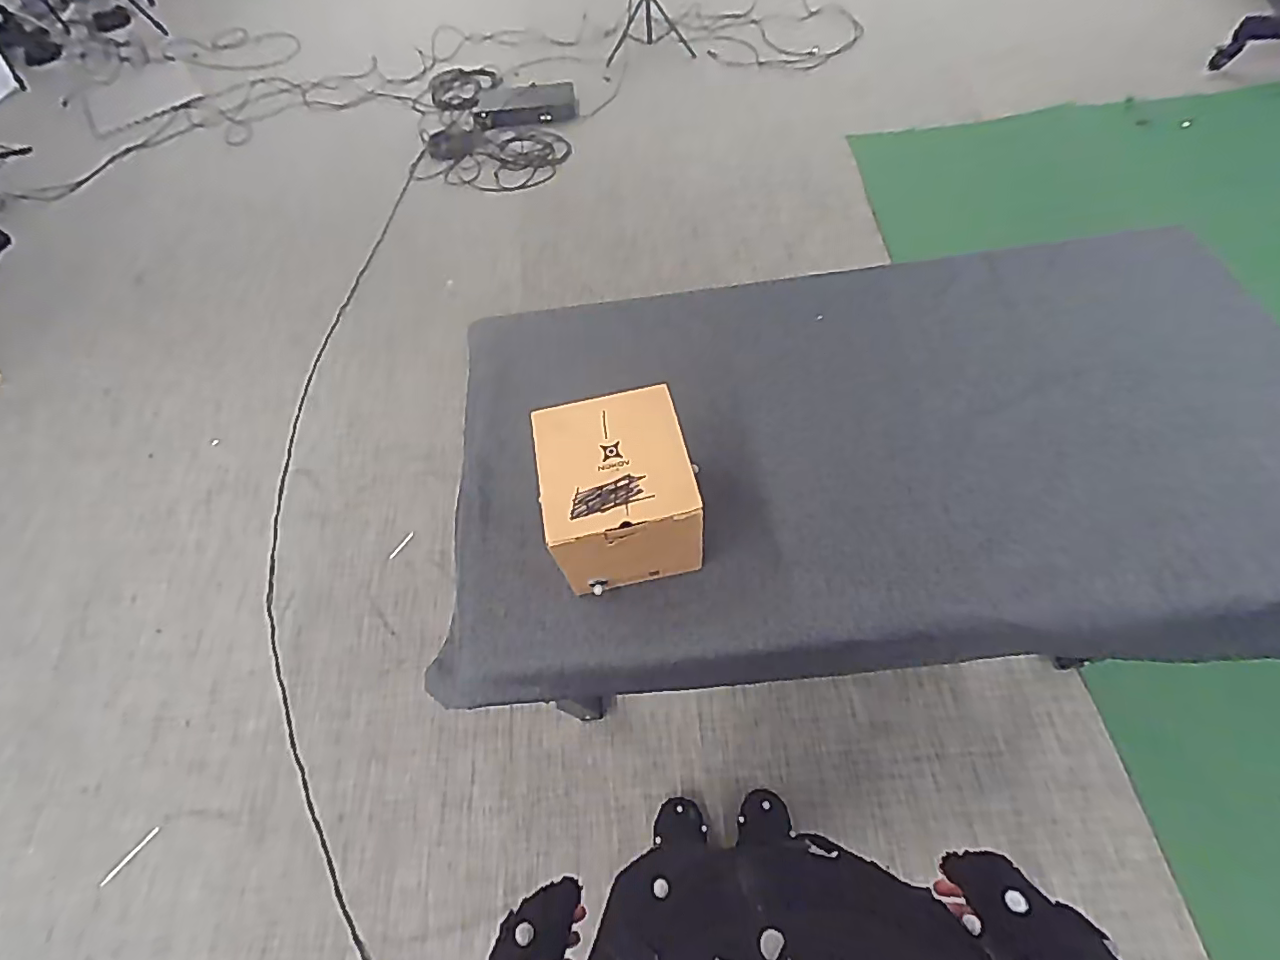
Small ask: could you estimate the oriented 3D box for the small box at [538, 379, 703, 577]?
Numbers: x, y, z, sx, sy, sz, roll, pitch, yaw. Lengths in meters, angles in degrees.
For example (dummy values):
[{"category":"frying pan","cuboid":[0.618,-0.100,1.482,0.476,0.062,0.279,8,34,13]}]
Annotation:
[{"category":"small box","cuboid":[-0.019,0.008,0.667,0.168,0.176,0.179,-12,60,-1]}]
